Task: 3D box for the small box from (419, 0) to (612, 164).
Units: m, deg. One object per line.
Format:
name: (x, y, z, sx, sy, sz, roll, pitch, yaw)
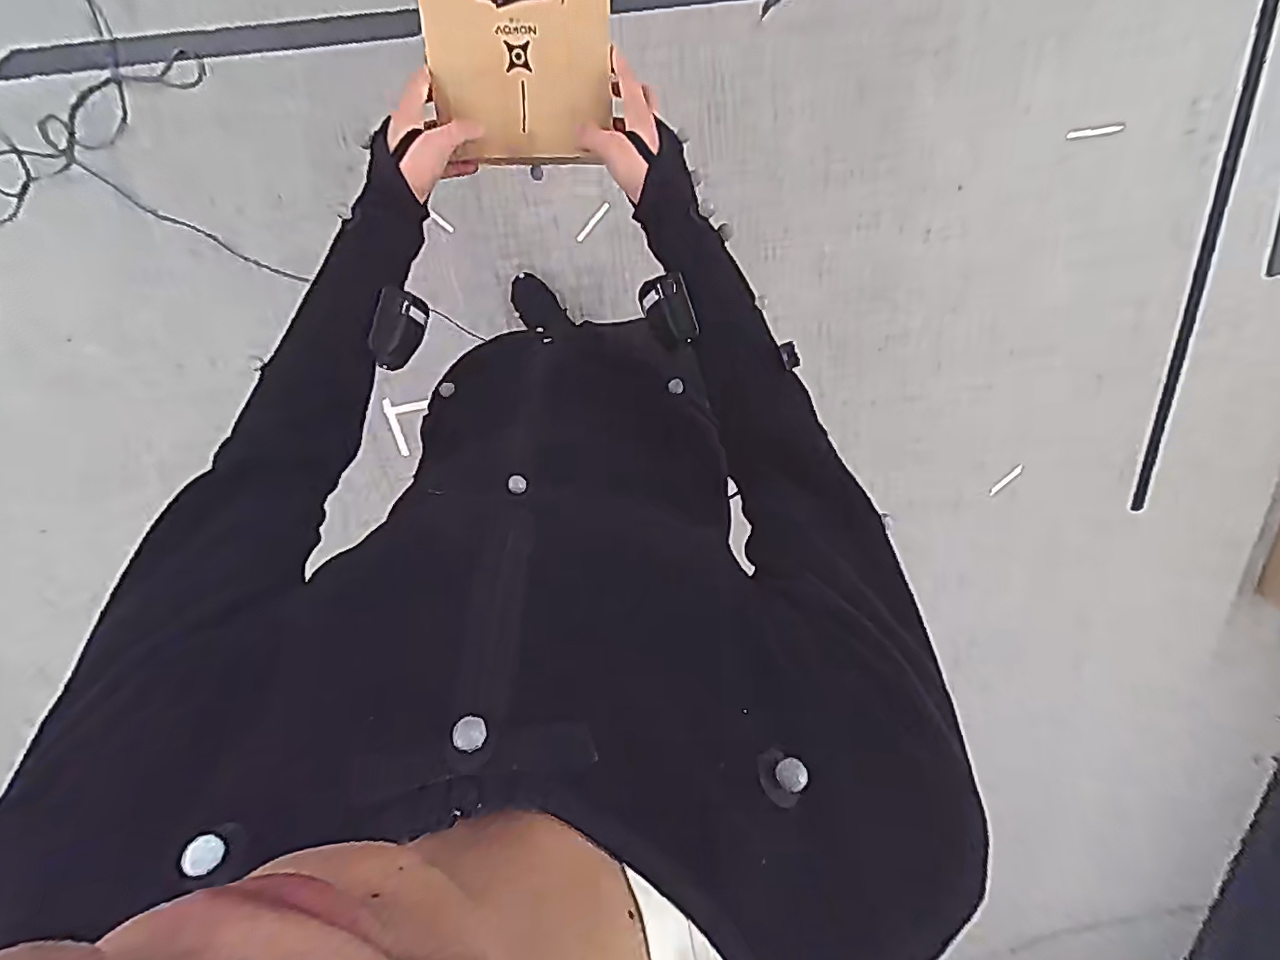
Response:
small box: (-0.114, -0.426, 0.548, 0.168, 0.176, 0.179, -2, 119, -3)
